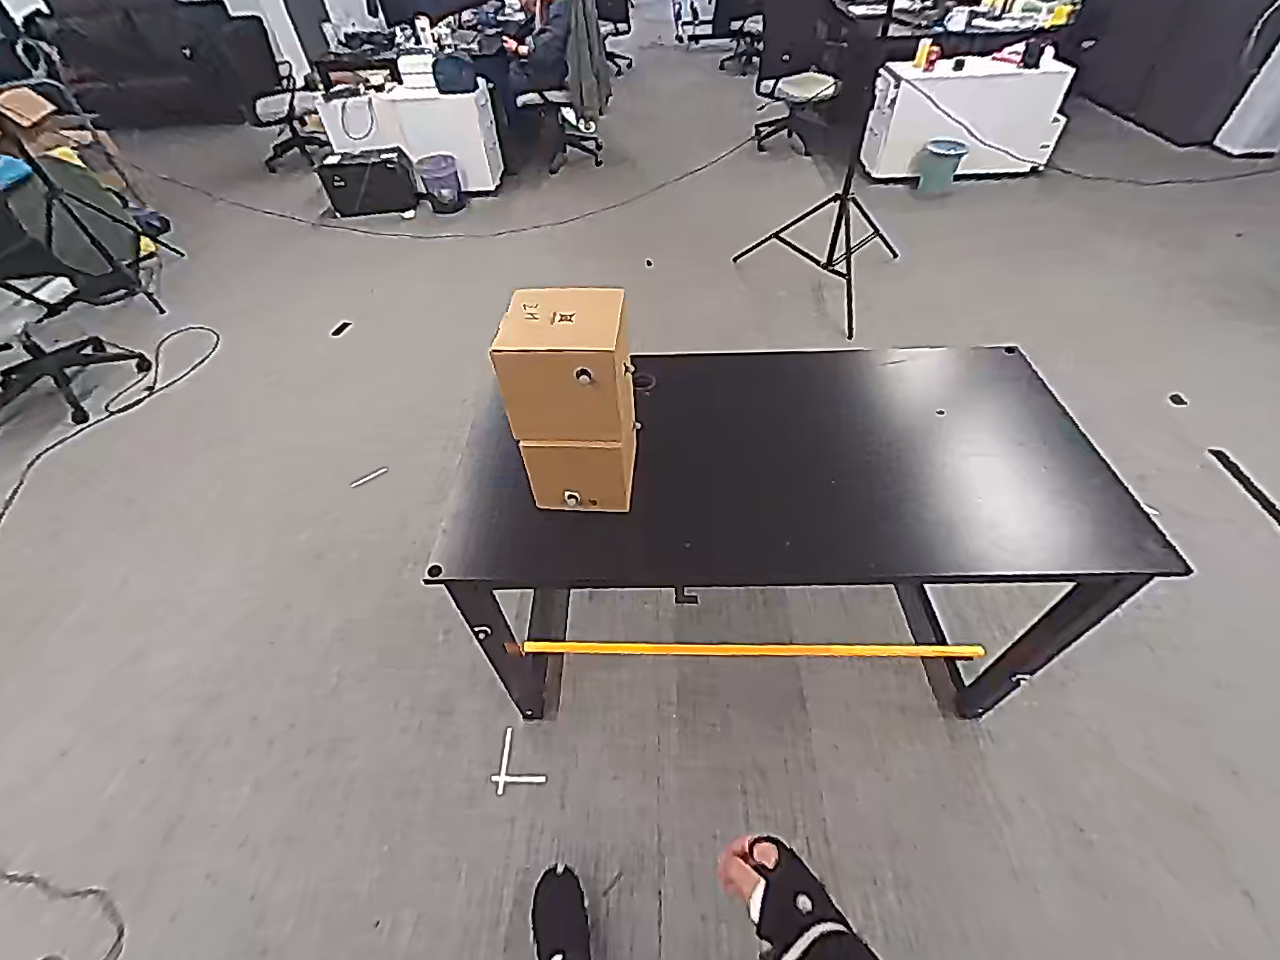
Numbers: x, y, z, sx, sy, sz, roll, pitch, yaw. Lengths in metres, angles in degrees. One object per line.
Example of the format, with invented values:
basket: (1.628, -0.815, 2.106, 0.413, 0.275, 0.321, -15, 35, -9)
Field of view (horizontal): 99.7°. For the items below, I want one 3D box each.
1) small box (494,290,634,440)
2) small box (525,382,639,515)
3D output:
small box: (-0.103, -0.174, 0.837, 0.179, 0.176, 0.168, 1, 48, 5)
small box: (-0.092, -0.059, 0.956, 0.168, 0.176, 0.179, 1, 49, 5)
